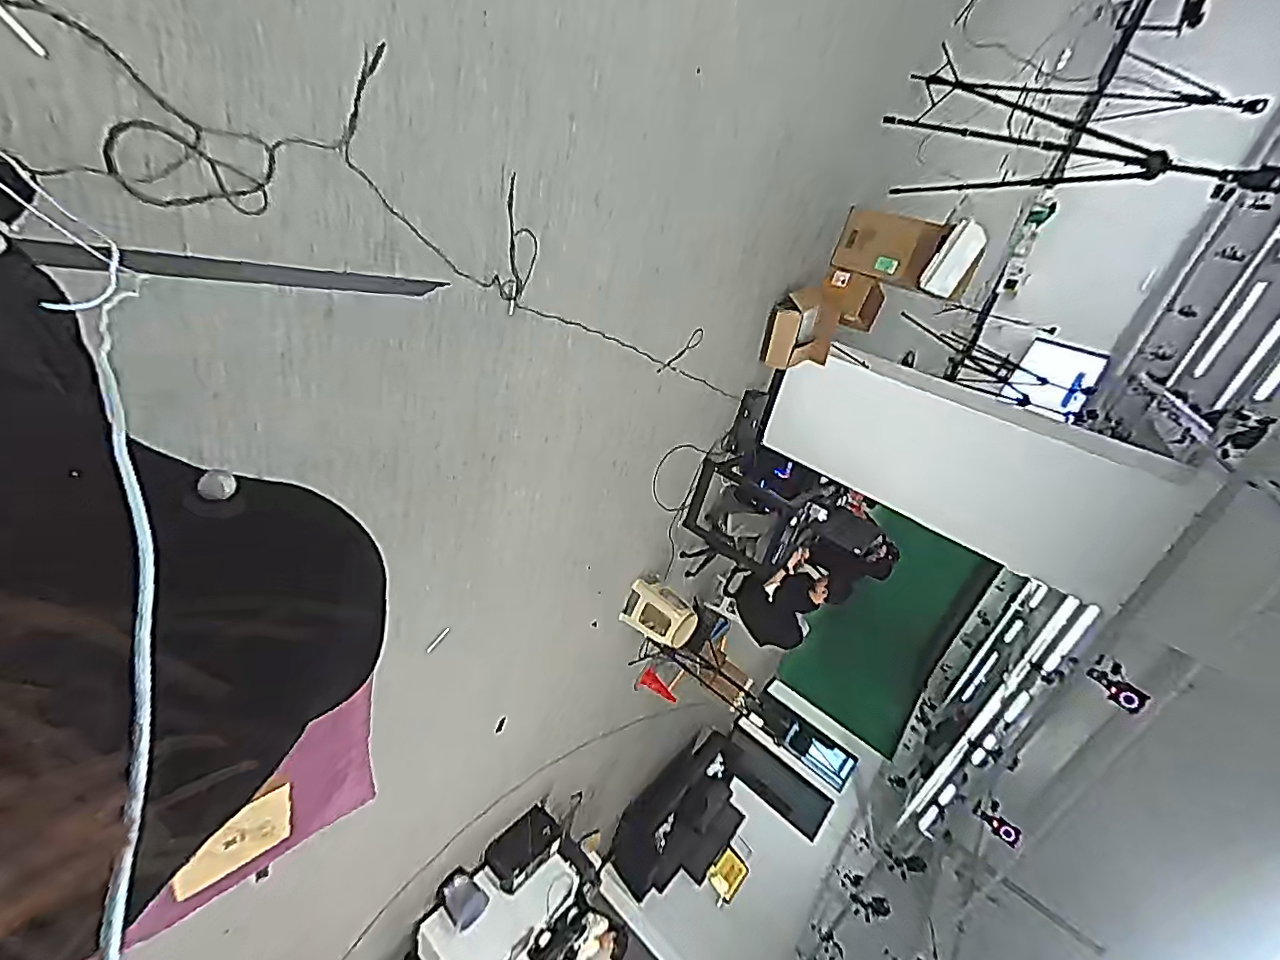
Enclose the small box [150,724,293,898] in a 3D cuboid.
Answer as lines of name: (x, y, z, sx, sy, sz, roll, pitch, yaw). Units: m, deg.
small box: (-0.776, 0.601, 1.004, 0.179, 0.176, 0.168, -16, 130, -50)
